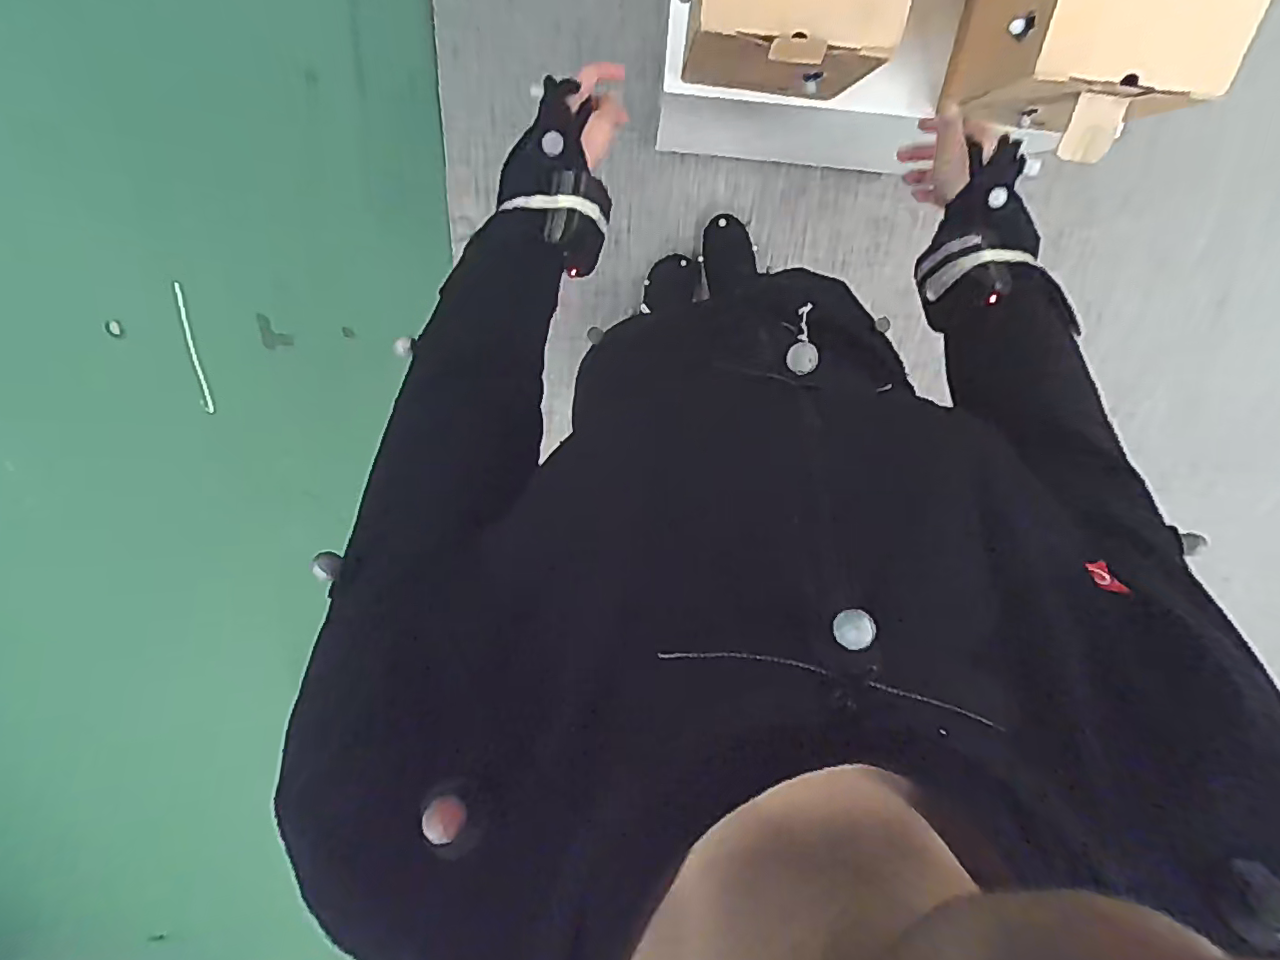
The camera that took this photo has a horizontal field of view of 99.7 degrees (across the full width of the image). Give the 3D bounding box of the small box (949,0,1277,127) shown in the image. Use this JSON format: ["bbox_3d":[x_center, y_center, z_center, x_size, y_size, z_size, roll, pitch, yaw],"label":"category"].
[{"bbox_3d":[0.409,-0.433,0.472,0.168,0.176,0.179,5,115,-2],"label":"small box"}]

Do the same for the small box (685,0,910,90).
[{"bbox_3d":[0.134,-0.461,0.463,0.168,0.176,0.179,5,114,-3],"label":"small box"}]
